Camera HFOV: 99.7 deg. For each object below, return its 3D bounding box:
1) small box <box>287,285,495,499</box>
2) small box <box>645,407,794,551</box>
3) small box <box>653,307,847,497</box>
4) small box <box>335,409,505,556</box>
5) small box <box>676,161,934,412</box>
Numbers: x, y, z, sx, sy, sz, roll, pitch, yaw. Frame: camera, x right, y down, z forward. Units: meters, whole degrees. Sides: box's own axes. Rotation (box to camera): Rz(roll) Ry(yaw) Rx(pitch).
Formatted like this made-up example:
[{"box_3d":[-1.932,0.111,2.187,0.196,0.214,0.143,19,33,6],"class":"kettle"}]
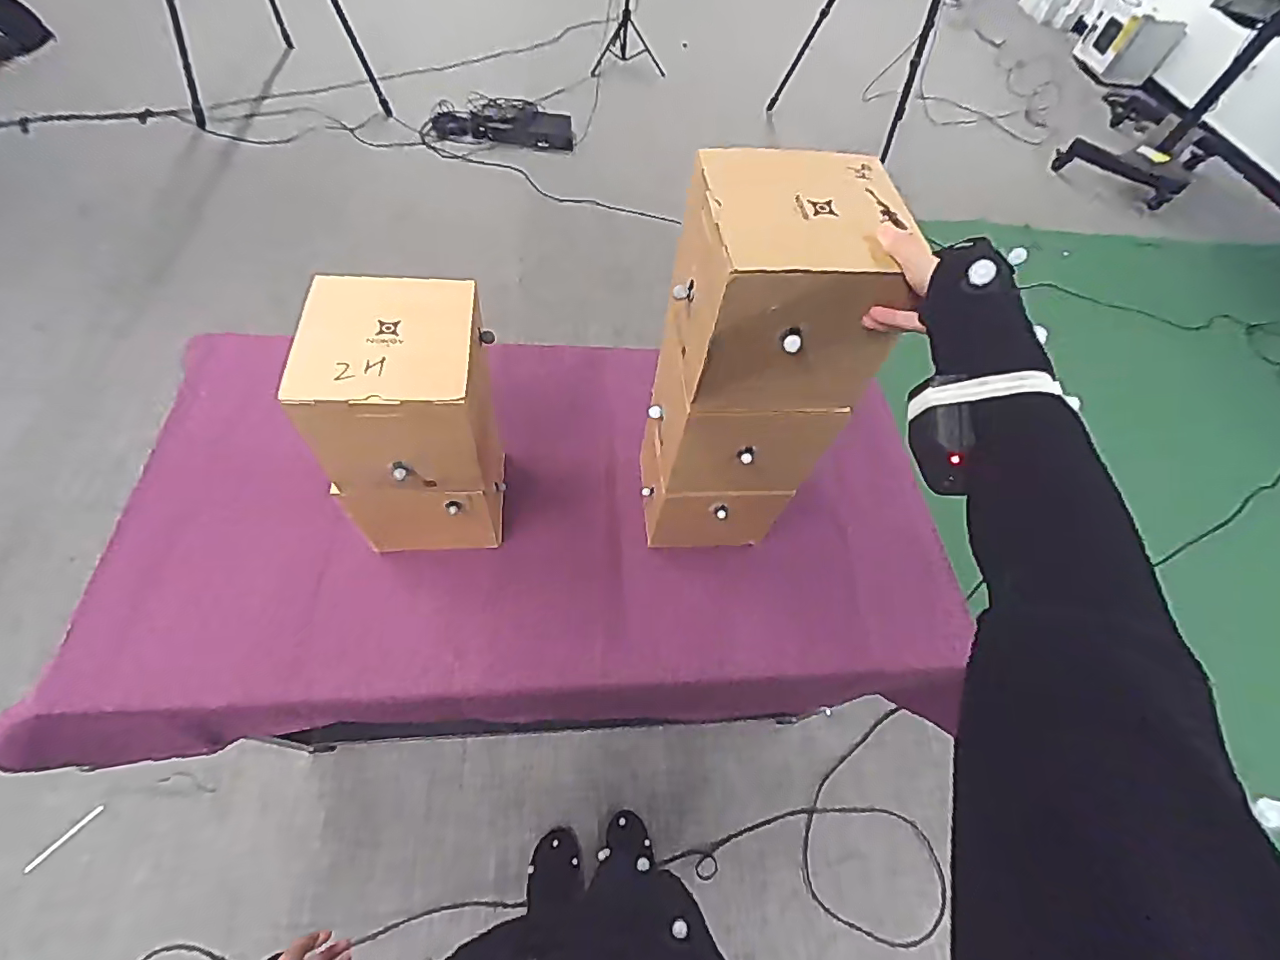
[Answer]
[{"box_3d":[-0.260,-0.095,0.615,0.168,0.176,0.179,-2,58,-9],"class":"small box"},{"box_3d":[0.102,-0.001,0.798,0.179,0.176,0.168,0,59,-8],"class":"small box"},{"box_3d":[0.118,-0.089,0.661,0.179,0.176,0.168,-1,59,-7],"class":"small box"},{"box_3d":[-0.287,-0.003,0.750,0.179,0.176,0.168,-1,58,-9],"class":"small box"},{"box_3d":[0.133,-0.178,0.523,0.179,0.176,0.168,-3,60,-7],"class":"small box"}]
